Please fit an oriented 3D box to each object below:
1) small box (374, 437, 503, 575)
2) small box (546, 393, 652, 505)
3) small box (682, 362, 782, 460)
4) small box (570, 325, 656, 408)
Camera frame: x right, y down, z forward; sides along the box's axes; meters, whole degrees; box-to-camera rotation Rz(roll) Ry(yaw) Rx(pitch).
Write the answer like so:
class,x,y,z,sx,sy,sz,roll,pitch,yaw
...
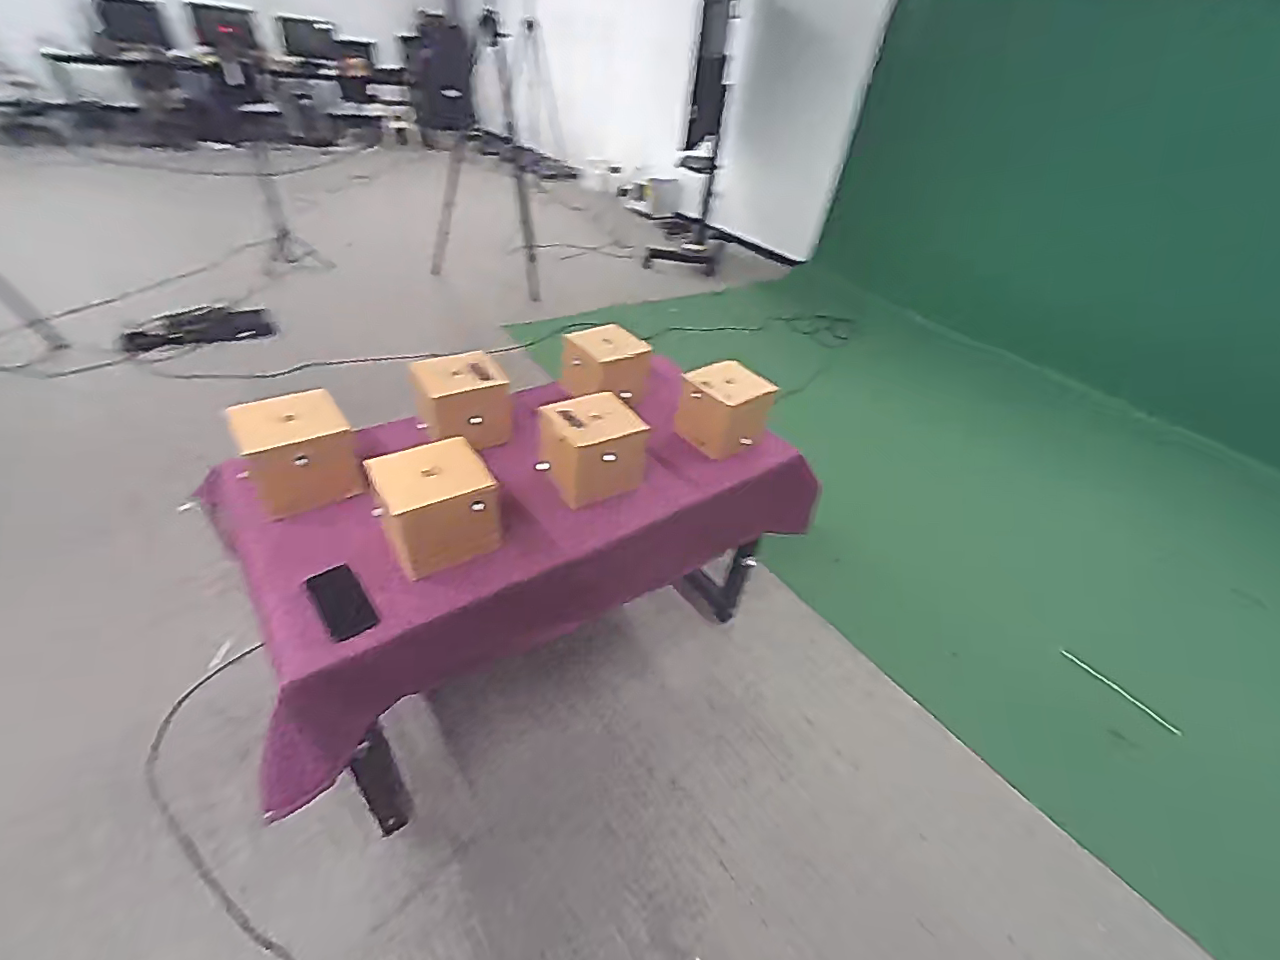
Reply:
class,x,y,z,sx,sy,sz,roll,pitch,yaw
small box,-0.369,0.049,1.010,0.179,0.176,0.168,-19,47,-31
small box,-0.096,-0.069,1.200,0.179,0.176,0.168,-18,46,-30
small box,0.228,-0.178,1.389,0.179,0.176,0.168,-22,48,-32
small box,-0.081,-0.302,1.482,0.168,0.176,0.179,-24,50,-32
